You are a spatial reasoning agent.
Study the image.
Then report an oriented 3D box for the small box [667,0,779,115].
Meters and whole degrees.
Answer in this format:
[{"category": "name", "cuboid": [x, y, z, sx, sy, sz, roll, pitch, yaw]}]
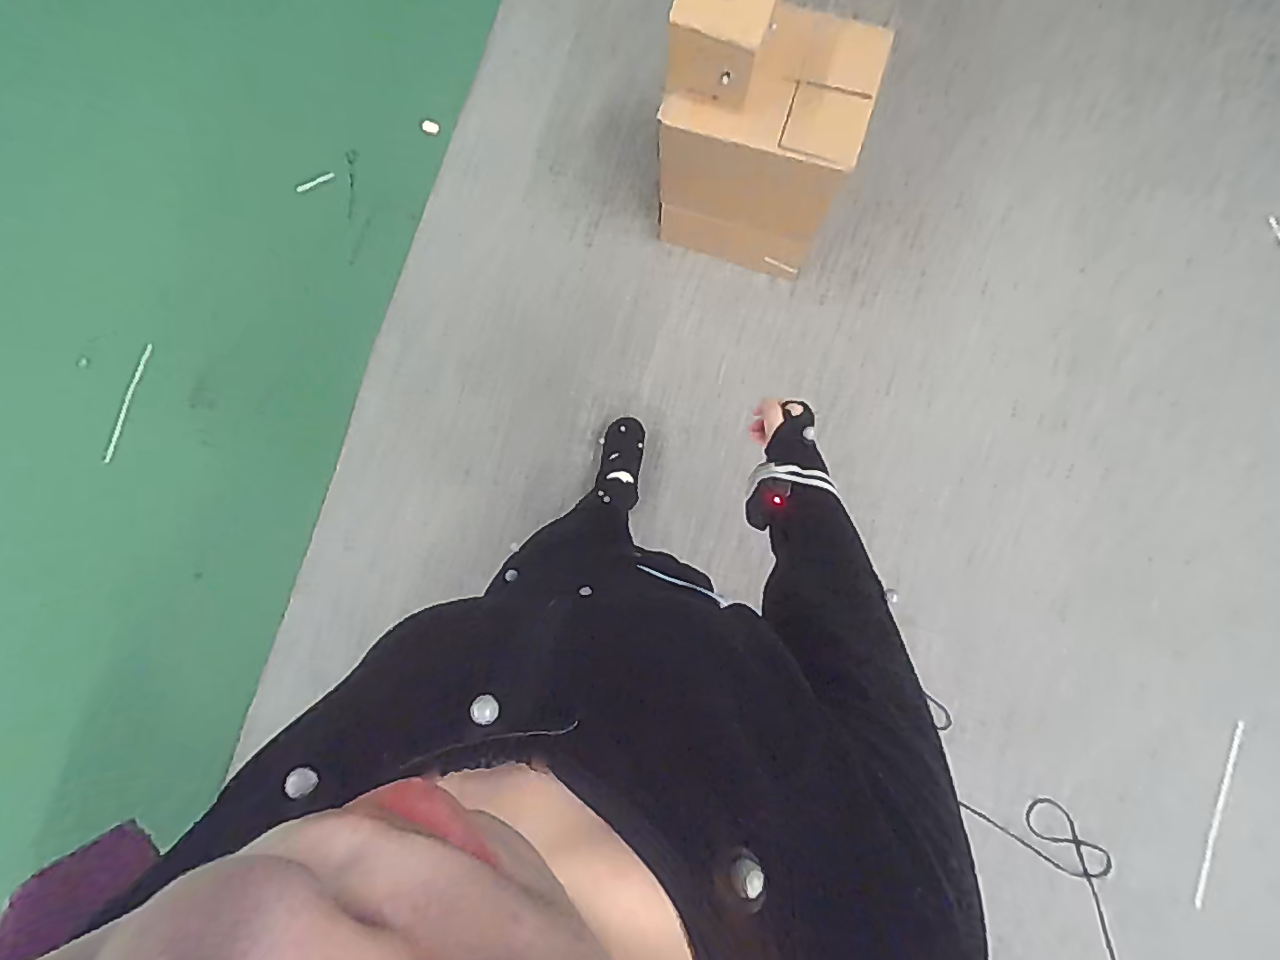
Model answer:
[{"category": "small box", "cuboid": [0.154, -0.832, 1.007, 0.168, 0.176, 0.179, 19, 88, 1]}]
